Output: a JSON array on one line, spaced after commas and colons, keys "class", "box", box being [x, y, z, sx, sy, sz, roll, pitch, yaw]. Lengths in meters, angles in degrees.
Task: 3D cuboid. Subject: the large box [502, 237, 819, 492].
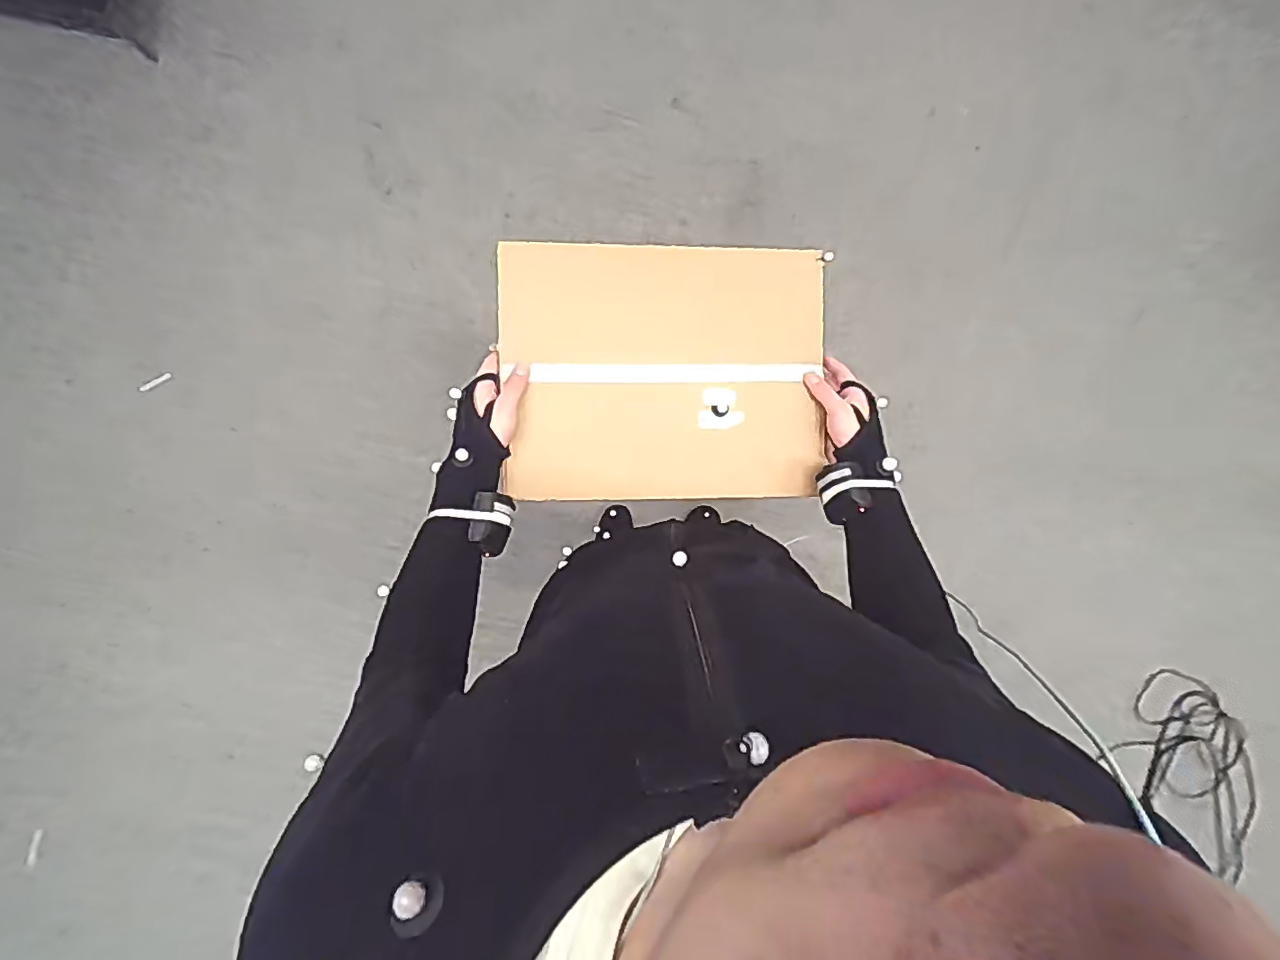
[{"class": "large box", "box": [0.016, -0.148, 0.825, 0.408, 0.320, 0.320, -1, 92, -6]}]
